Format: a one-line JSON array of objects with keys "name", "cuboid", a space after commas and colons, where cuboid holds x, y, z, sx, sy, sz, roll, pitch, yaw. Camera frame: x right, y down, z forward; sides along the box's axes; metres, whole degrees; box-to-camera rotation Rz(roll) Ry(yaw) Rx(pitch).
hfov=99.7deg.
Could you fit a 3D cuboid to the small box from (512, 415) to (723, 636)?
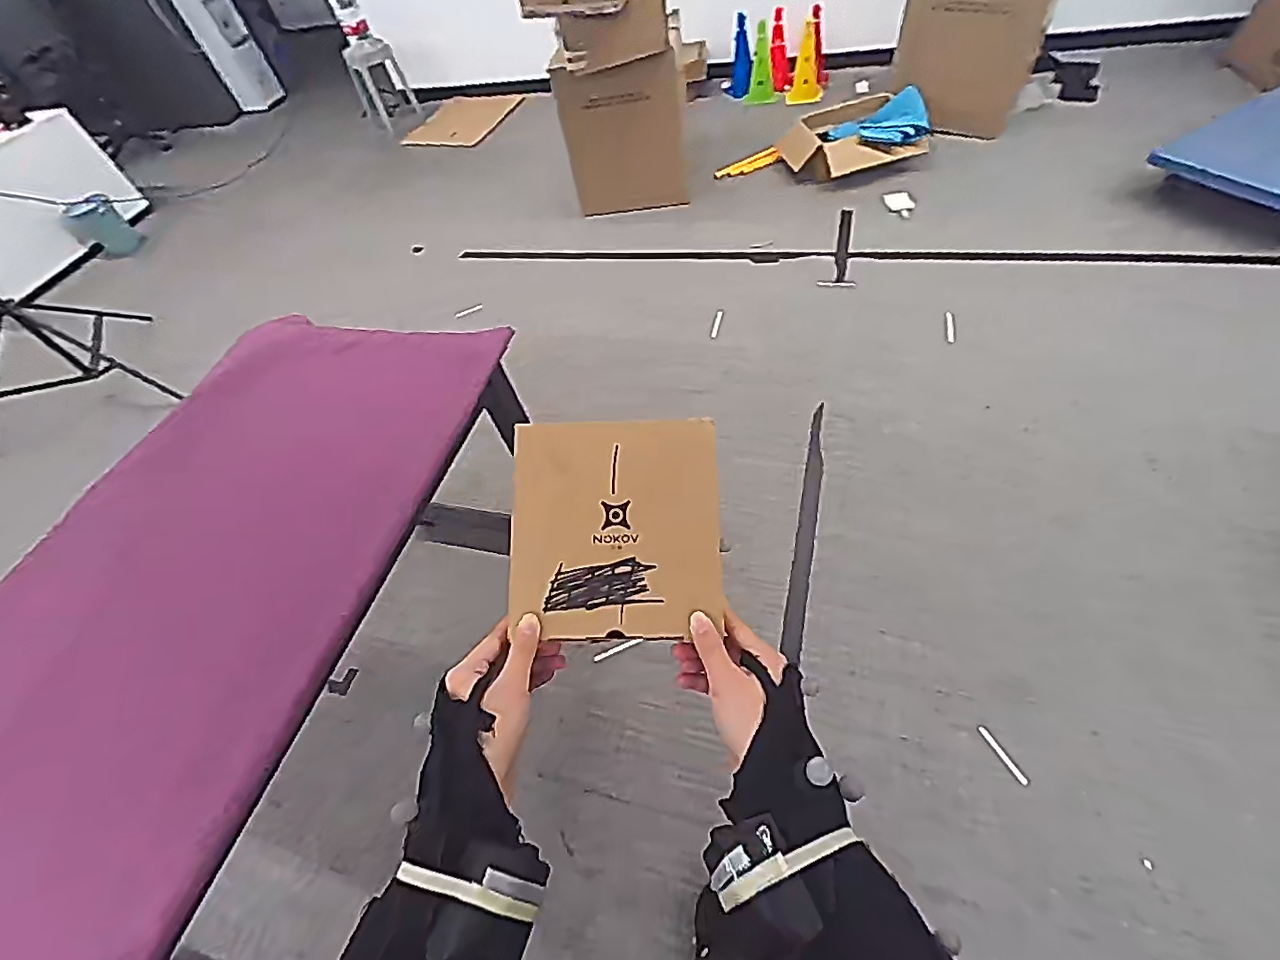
[{"name": "small box", "cuboid": [-0.013, 0.050, 0.505, 0.168, 0.176, 0.179, -1, 76, 2]}]
